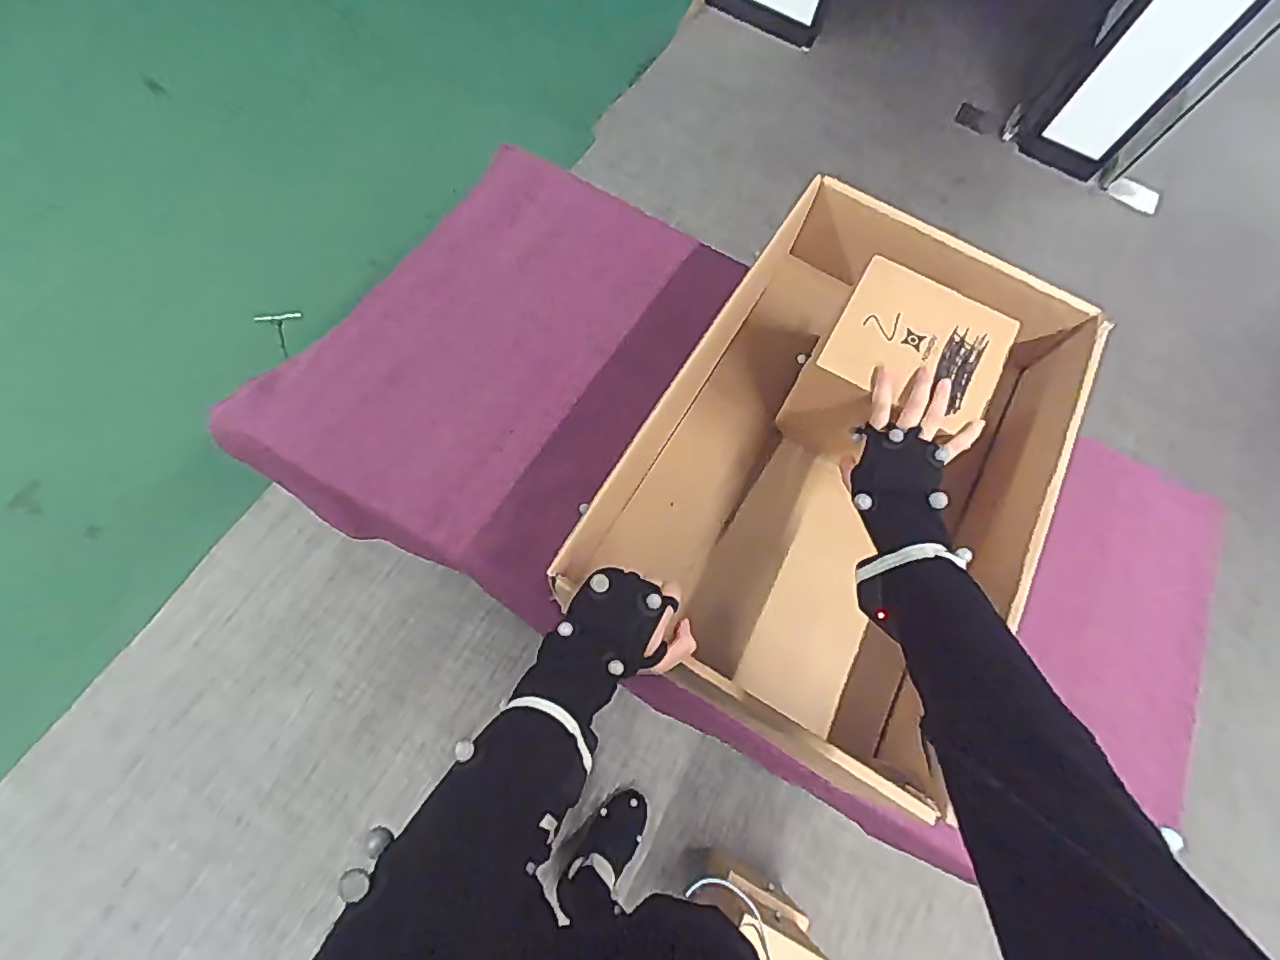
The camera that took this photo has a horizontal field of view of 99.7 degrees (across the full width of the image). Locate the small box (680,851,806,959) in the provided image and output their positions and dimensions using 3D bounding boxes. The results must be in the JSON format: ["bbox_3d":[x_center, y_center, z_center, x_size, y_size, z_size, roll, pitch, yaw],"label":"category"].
[{"bbox_3d":[0.201,0.897,1.099,0.179,0.176,0.168,28,70,6],"label":"small box"}]
